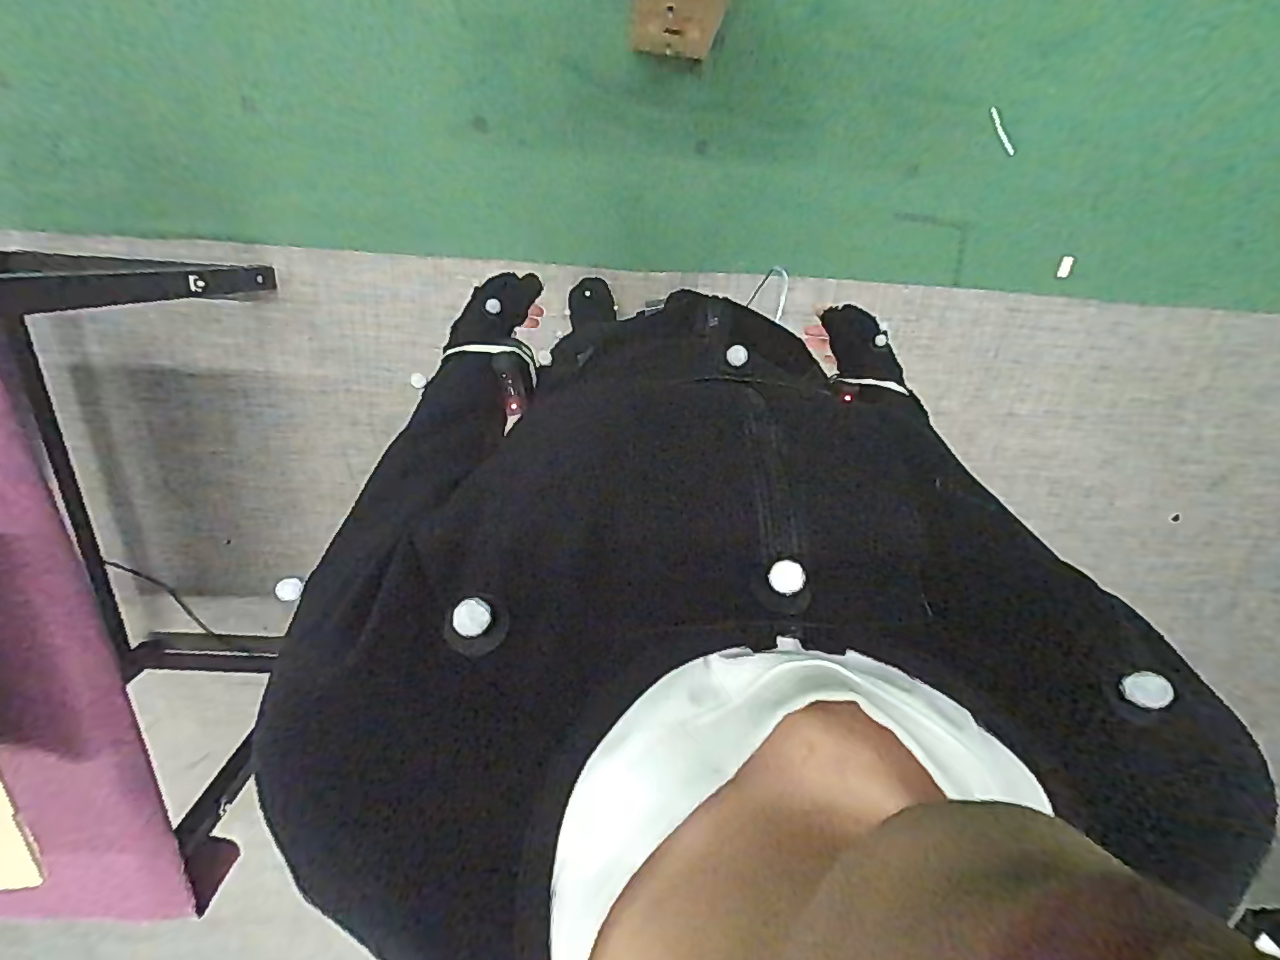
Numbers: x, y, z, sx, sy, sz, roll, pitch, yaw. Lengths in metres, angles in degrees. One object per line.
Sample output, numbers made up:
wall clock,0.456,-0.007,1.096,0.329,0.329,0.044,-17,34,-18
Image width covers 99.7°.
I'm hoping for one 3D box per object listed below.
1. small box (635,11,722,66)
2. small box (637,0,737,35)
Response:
small box,0.080,-0.958,1.064,0.168,0.176,0.179,5,111,-4
small box,0.083,-0.898,0.913,0.168,0.176,0.179,3,112,-4
